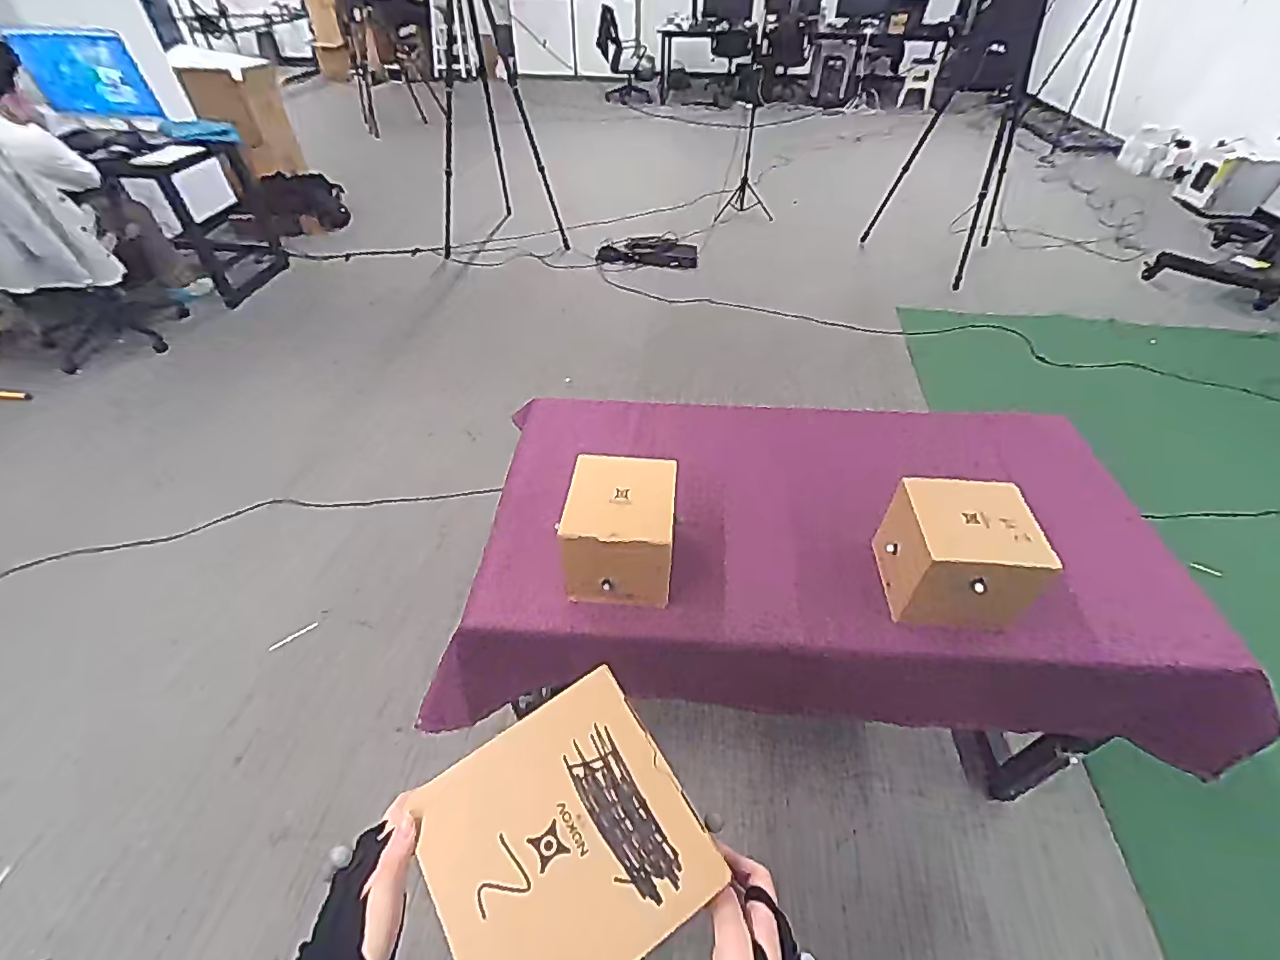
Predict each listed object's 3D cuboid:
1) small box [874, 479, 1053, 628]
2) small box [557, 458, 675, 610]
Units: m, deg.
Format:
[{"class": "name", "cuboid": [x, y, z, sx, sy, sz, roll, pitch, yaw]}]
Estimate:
[{"class": "small box", "cuboid": [0.486, 0.118, 0.852, 0.179, 0.176, 0.168, 4, 45, 3]}, {"class": "small box", "cuboid": [-0.033, 0.087, 0.884, 0.168, 0.176, 0.179, 3, 45, 3]}]
